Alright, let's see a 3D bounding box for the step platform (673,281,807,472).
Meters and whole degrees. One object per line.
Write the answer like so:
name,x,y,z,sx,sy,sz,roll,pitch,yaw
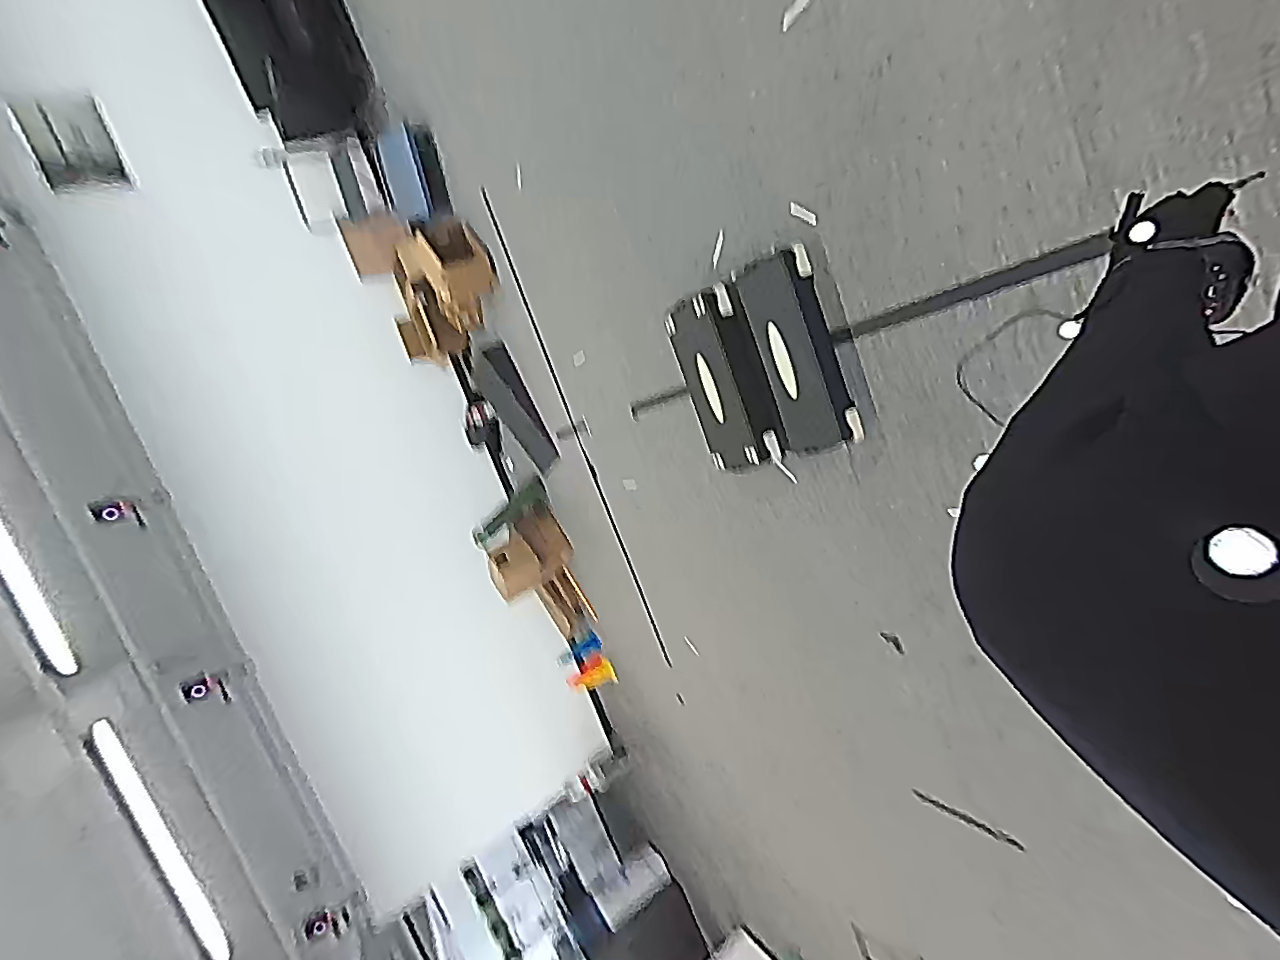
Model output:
step platform,0.366,-0.367,2.024,0.286,0.204,0.684,-10,102,61
